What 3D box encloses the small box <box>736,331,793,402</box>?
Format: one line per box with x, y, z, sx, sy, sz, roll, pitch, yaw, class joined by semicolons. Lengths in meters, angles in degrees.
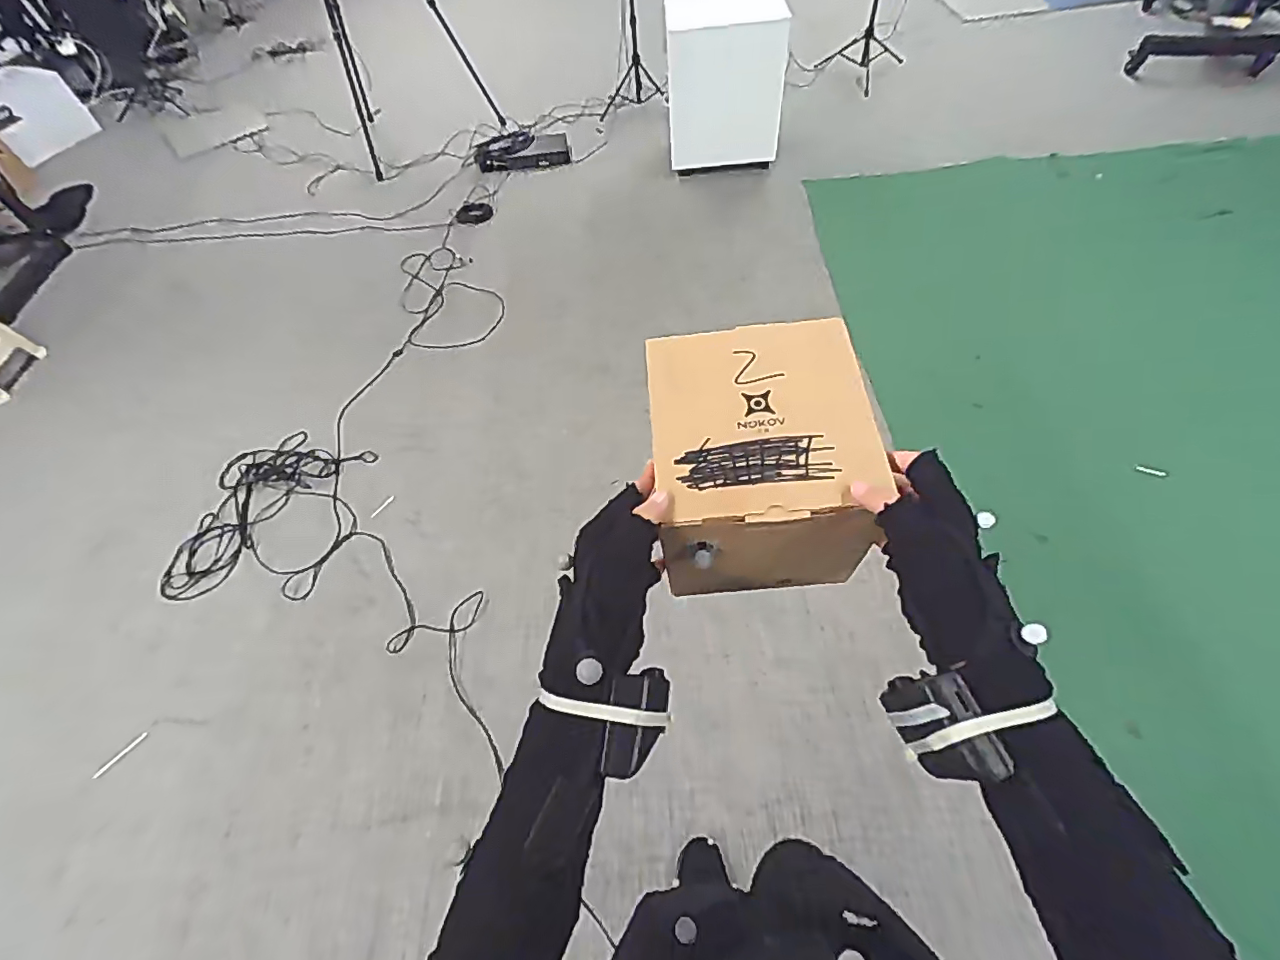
0.428;-0.393;1.887;0.168;0.176;0.179;-4;56;4;small box
